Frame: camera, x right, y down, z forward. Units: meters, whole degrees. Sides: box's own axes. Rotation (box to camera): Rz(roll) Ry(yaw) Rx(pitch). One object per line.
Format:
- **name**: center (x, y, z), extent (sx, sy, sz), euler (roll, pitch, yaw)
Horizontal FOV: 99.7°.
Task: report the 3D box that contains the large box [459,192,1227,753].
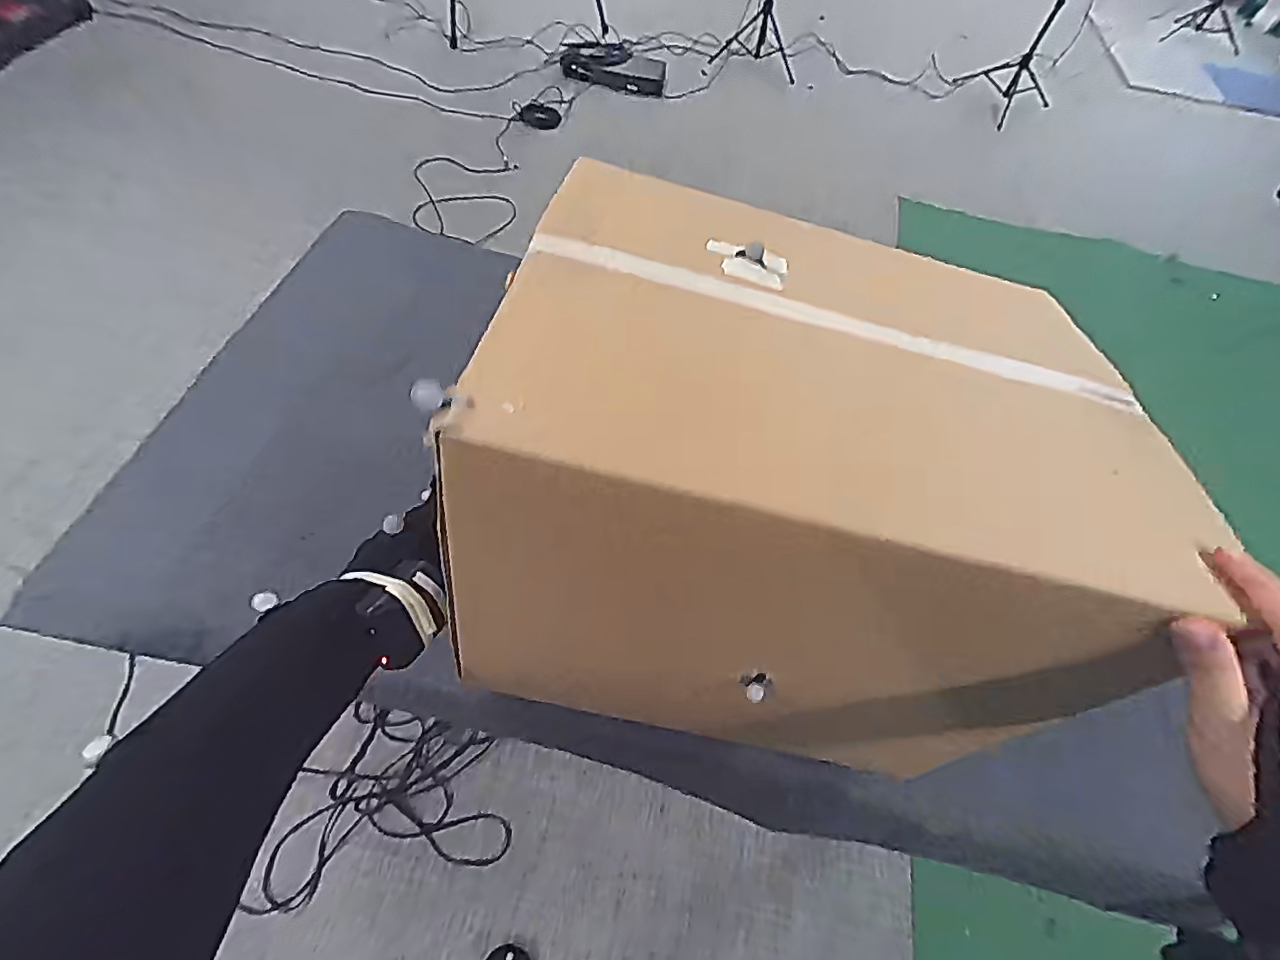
- **large box**: center (0.100, 0.014, 0.469), extent (0.408, 0.320, 0.320), euler (12, 49, -4)
